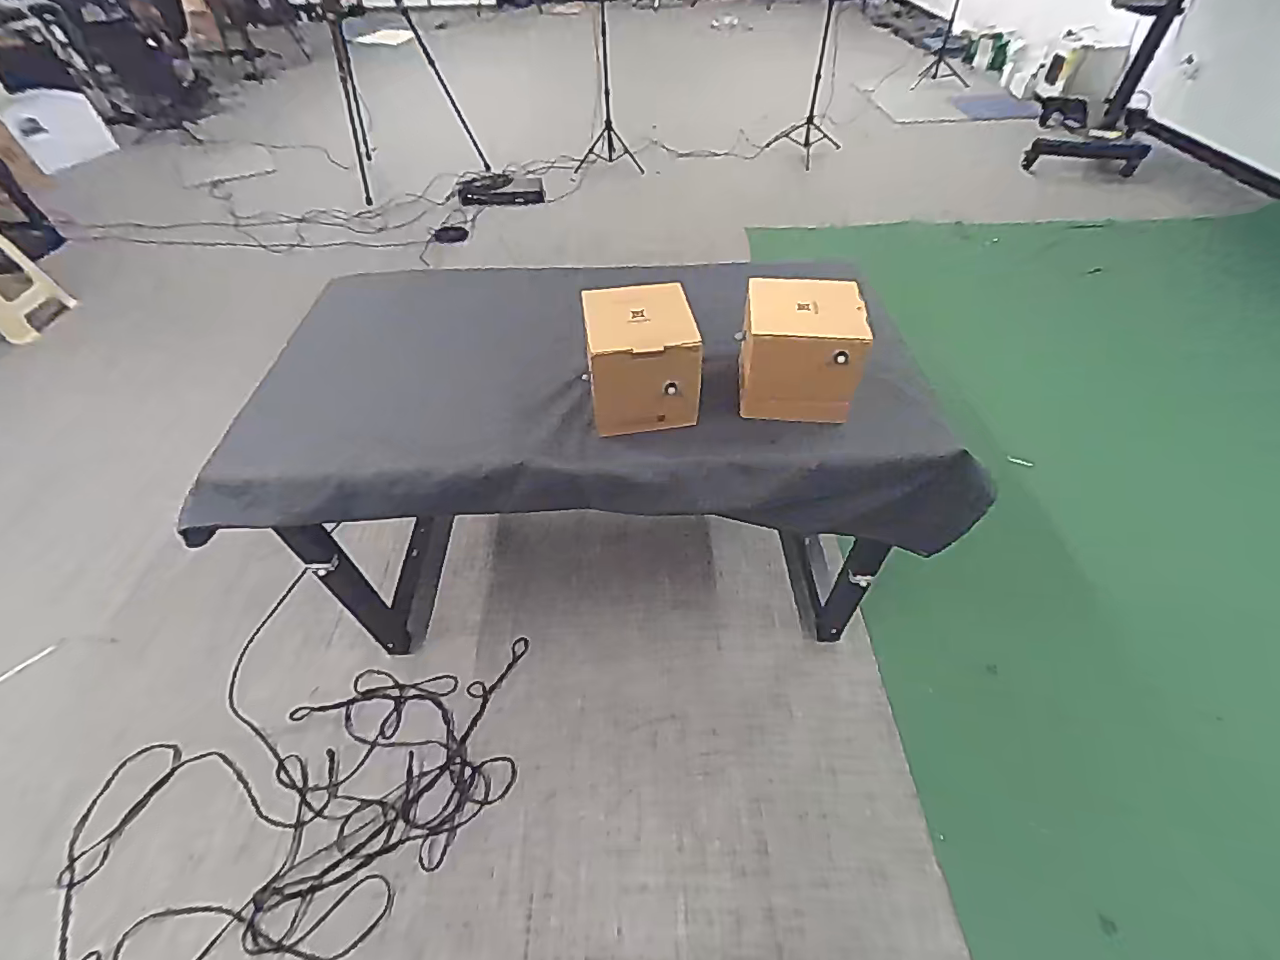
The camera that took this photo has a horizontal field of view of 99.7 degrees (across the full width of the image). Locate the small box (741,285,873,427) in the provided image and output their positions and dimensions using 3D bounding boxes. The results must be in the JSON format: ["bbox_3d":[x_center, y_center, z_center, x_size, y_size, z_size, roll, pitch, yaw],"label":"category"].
[{"bbox_3d":[0.262,-0.204,0.896,0.179,0.176,0.168,4,48,5],"label":"small box"}]

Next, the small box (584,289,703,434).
[{"bbox_3d":[0.003,-0.188,0.890,0.168,0.176,0.179,-7,47,-6],"label":"small box"}]
